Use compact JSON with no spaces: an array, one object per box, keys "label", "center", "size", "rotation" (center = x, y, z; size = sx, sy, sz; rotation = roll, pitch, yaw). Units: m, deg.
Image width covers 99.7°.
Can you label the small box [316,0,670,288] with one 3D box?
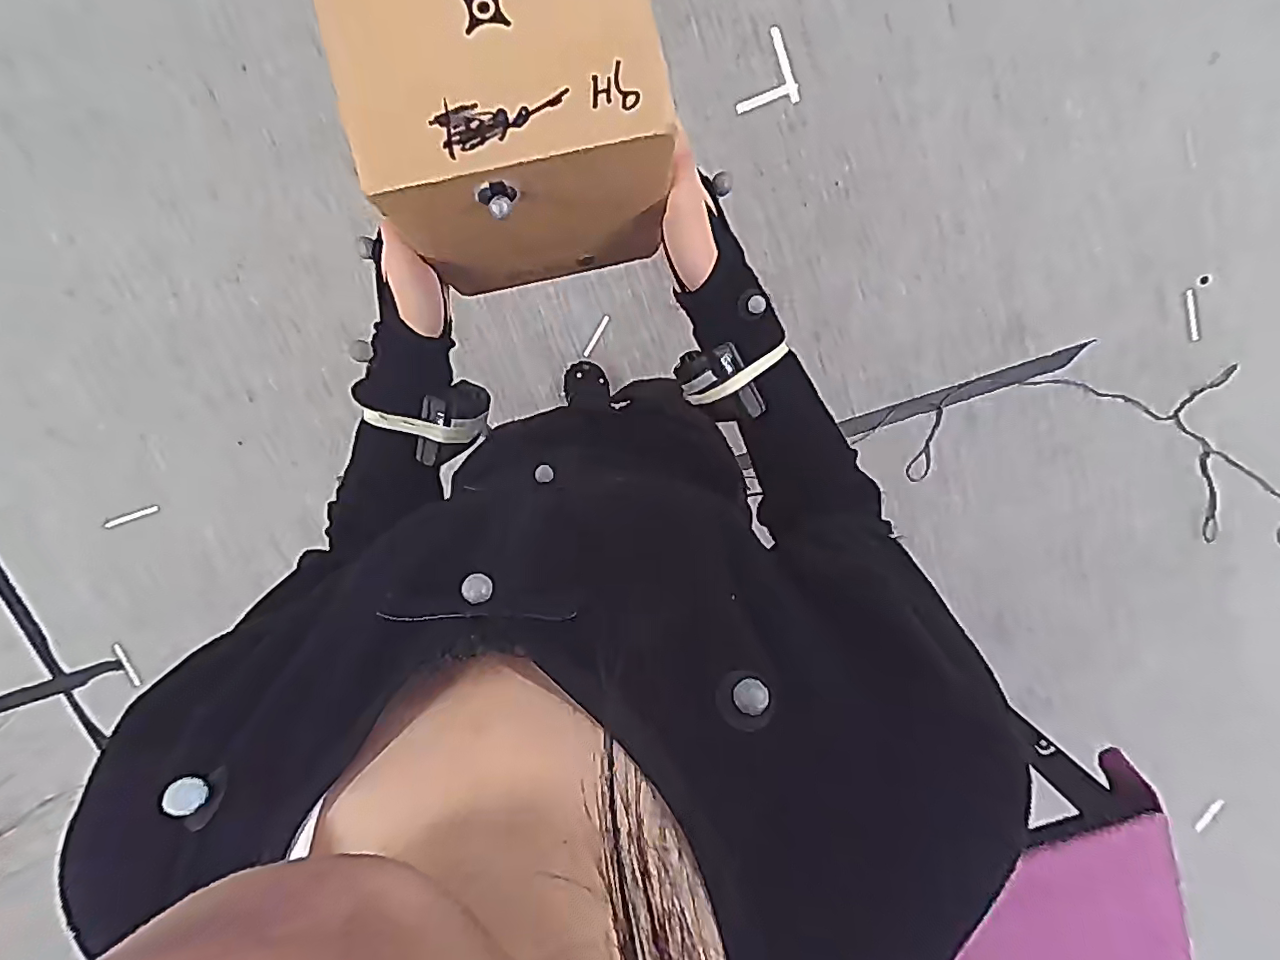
[{"label":"small box","center":[-0.083,-0.251,0.351],"size":[0.168,0.176,0.179],"rotation":[-12,91,-1]}]
